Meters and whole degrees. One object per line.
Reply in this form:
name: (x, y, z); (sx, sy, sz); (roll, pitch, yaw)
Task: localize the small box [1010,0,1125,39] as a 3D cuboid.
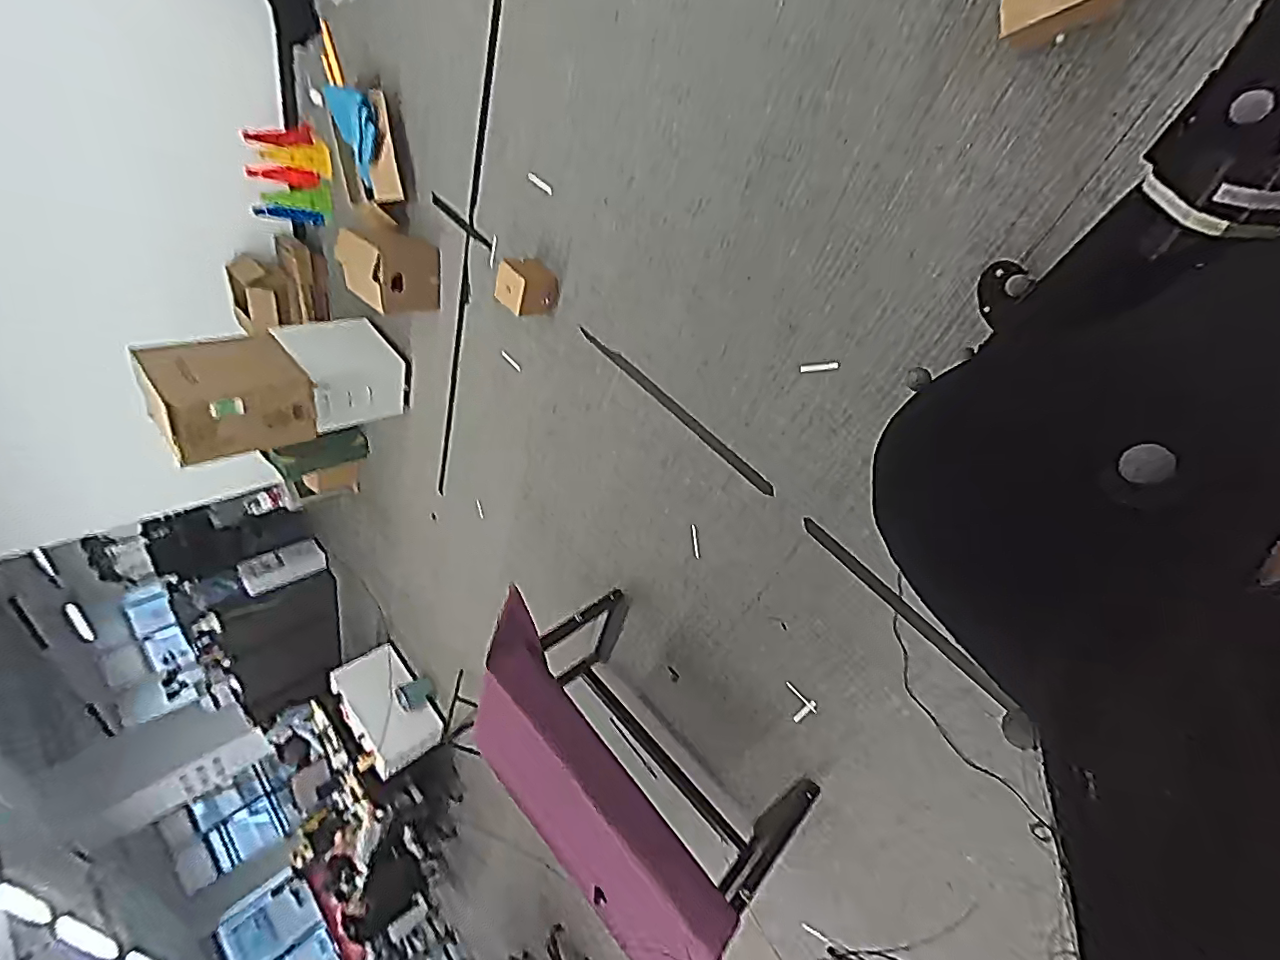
small box: (0.771, -0.938, 0.961); (0.168, 0.176, 0.179); (4, 112, 45)

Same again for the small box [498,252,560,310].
small box: (-0.461, -0.827, 2.241); (0.179, 0.176, 0.168); (43, 134, 22)
